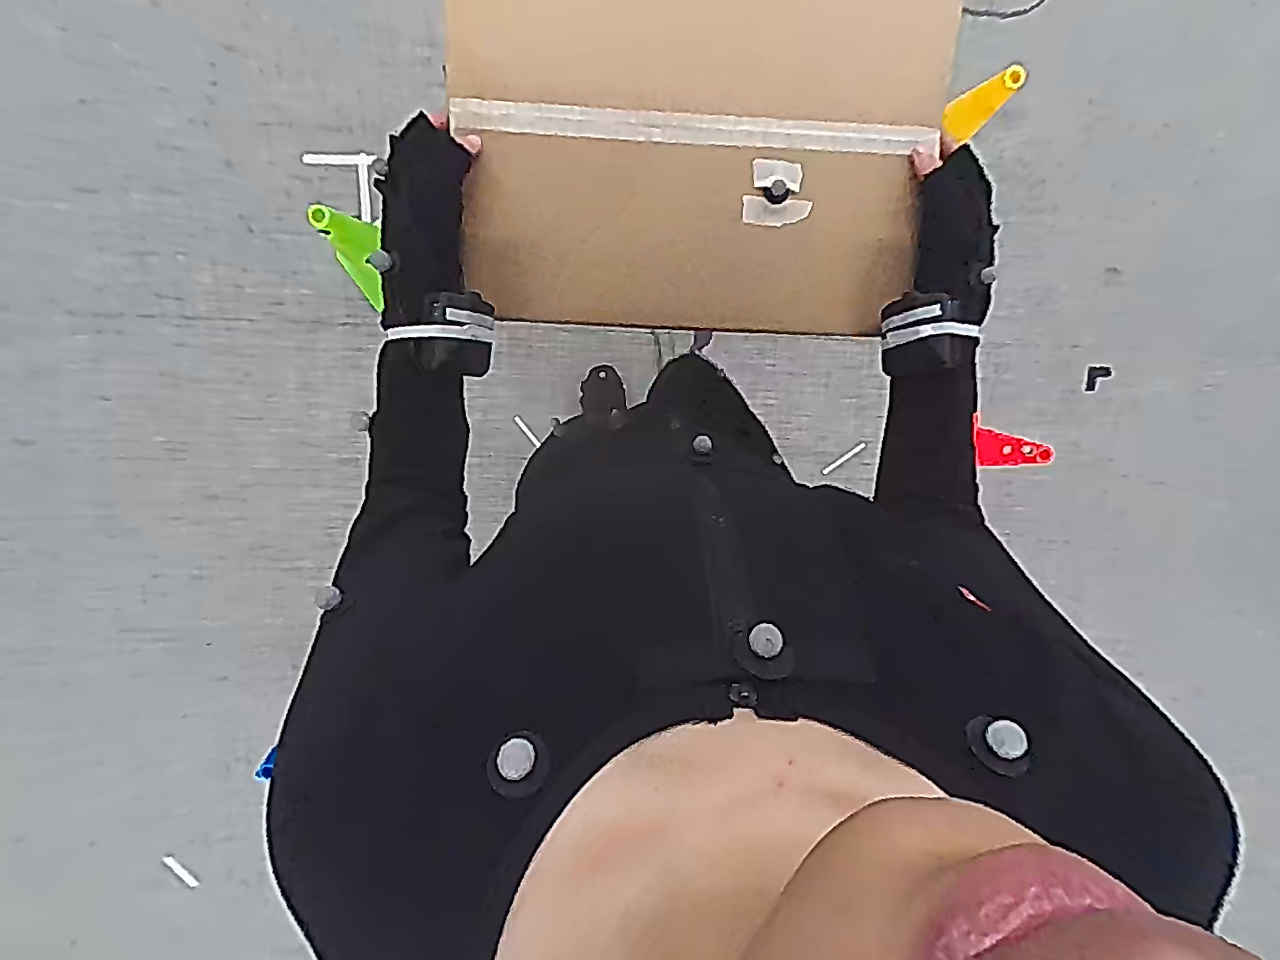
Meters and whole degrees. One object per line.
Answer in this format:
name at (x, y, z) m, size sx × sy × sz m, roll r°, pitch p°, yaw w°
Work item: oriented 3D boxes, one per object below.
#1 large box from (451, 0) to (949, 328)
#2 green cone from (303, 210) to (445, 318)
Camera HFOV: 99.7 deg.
large box at (0.039, -0.333, 0.595) m, size 0.408 × 0.320 × 0.320 m, roll 1°, pitch 106°, yaw -4°
green cone at (-0.608, -0.511, 1.174) m, size 0.202 × 0.368 × 0.200 m, roll -36°, pitch 98°, yaw 3°
